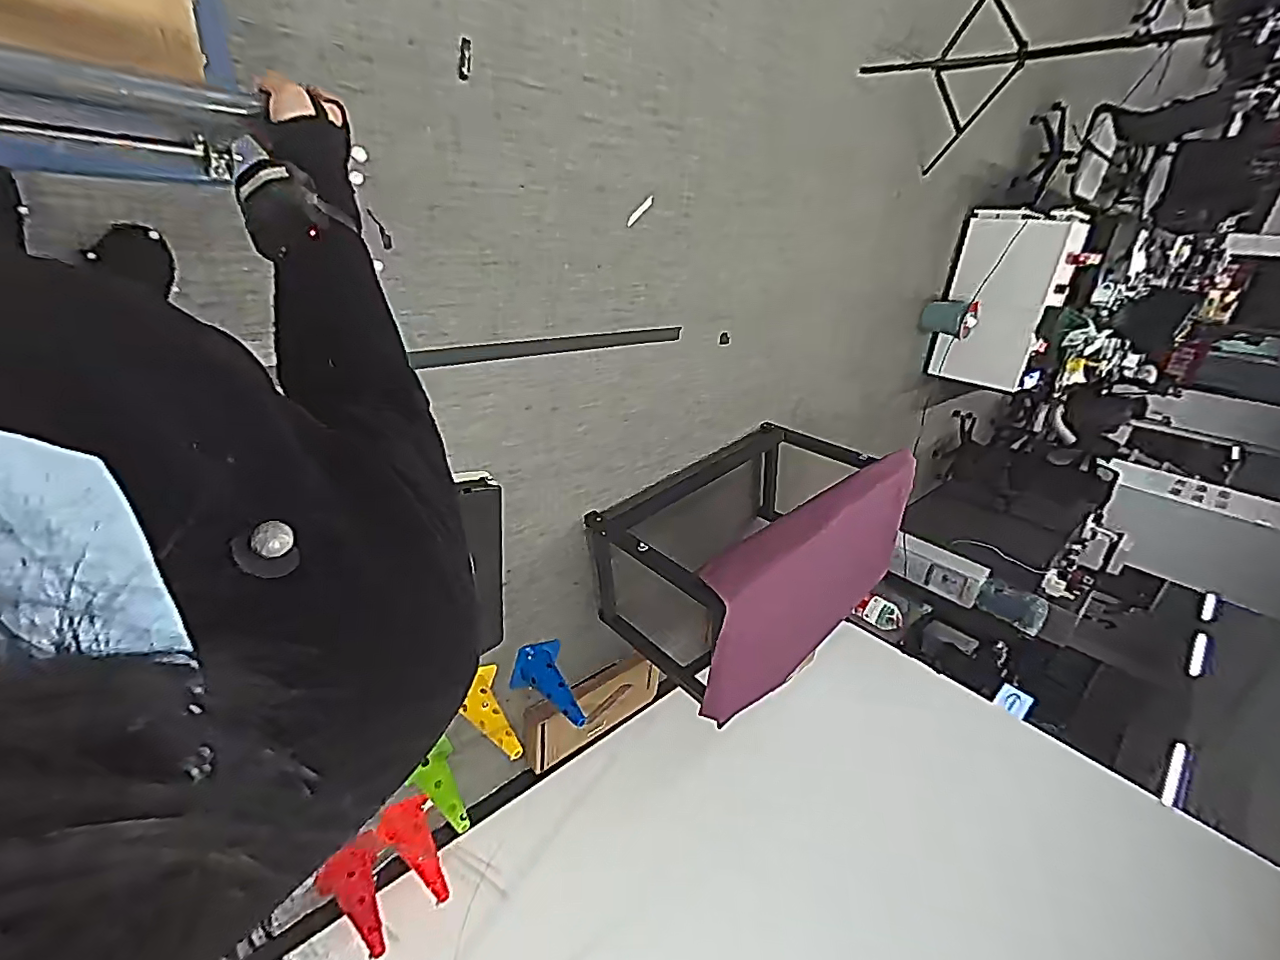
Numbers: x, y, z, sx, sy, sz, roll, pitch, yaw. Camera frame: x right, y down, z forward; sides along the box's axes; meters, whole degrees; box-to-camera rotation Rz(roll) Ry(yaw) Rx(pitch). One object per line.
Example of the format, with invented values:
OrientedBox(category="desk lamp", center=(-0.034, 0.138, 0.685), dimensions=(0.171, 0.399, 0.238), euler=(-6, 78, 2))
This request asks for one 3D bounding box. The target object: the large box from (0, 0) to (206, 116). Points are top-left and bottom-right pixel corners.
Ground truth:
OrientedBox(category="large box", center=(-0.805, -0.649, 0.620), dimensions=(0.408, 0.320, 0.320), euler=(-17, 123, -40))
